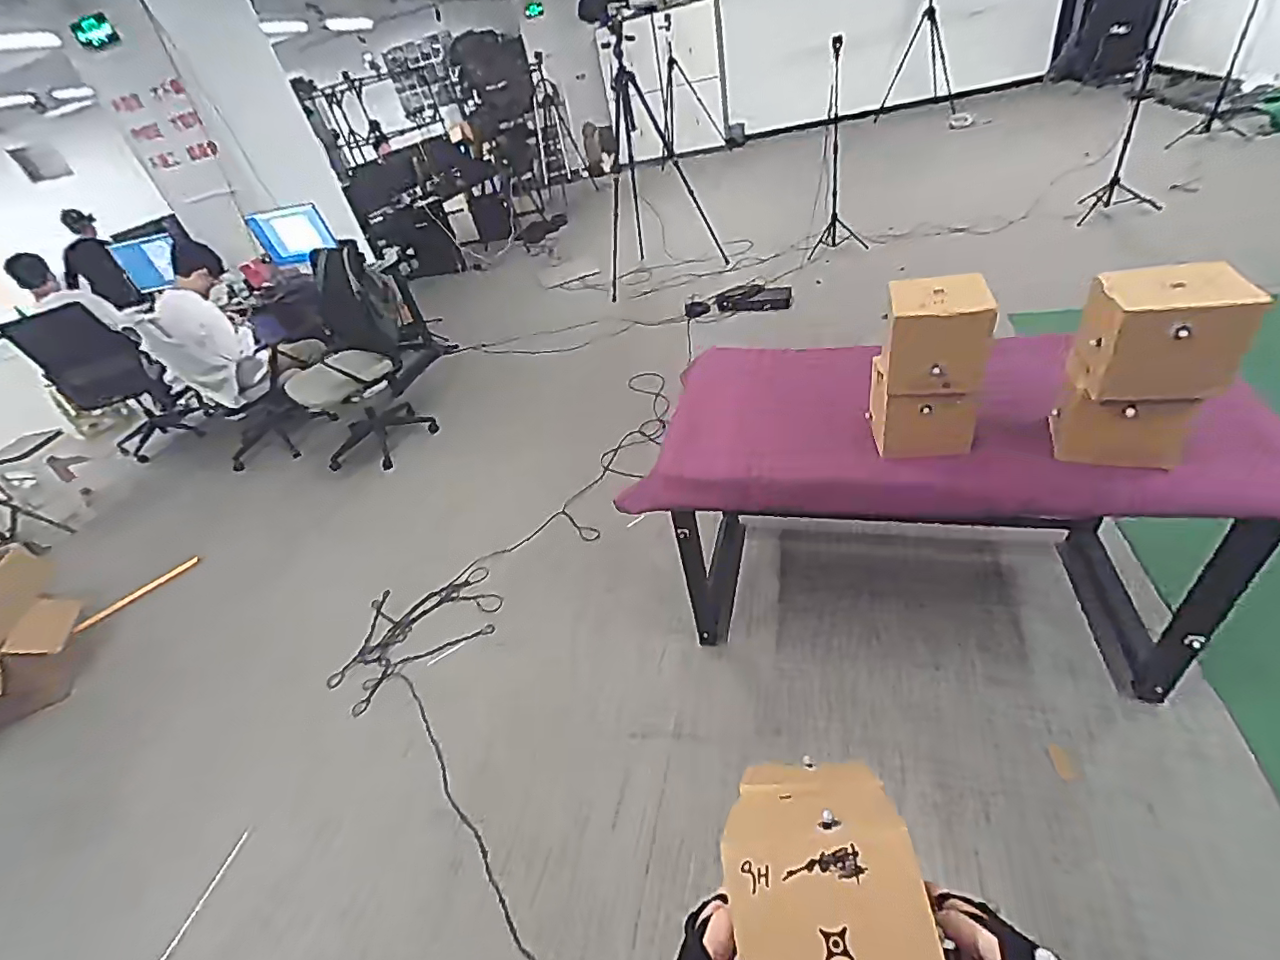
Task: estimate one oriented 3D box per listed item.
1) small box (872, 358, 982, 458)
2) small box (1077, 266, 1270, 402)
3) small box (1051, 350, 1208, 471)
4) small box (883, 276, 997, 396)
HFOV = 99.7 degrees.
[{"bbox_3d":[0.604,-0.159,1.164,0.179,0.176,0.168,-3,39,14],"label":"small box"},{"bbox_3d":[0.871,-0.241,0.911,0.179,0.176,0.168,3,40,23],"label":"small box"},{"bbox_3d":[0.915,-0.134,1.030,0.179,0.176,0.168,6,41,27],"label":"small box"},{"bbox_3d":[0.573,-0.280,1.057,0.168,0.176,0.179,1,40,20],"label":"small box"}]
